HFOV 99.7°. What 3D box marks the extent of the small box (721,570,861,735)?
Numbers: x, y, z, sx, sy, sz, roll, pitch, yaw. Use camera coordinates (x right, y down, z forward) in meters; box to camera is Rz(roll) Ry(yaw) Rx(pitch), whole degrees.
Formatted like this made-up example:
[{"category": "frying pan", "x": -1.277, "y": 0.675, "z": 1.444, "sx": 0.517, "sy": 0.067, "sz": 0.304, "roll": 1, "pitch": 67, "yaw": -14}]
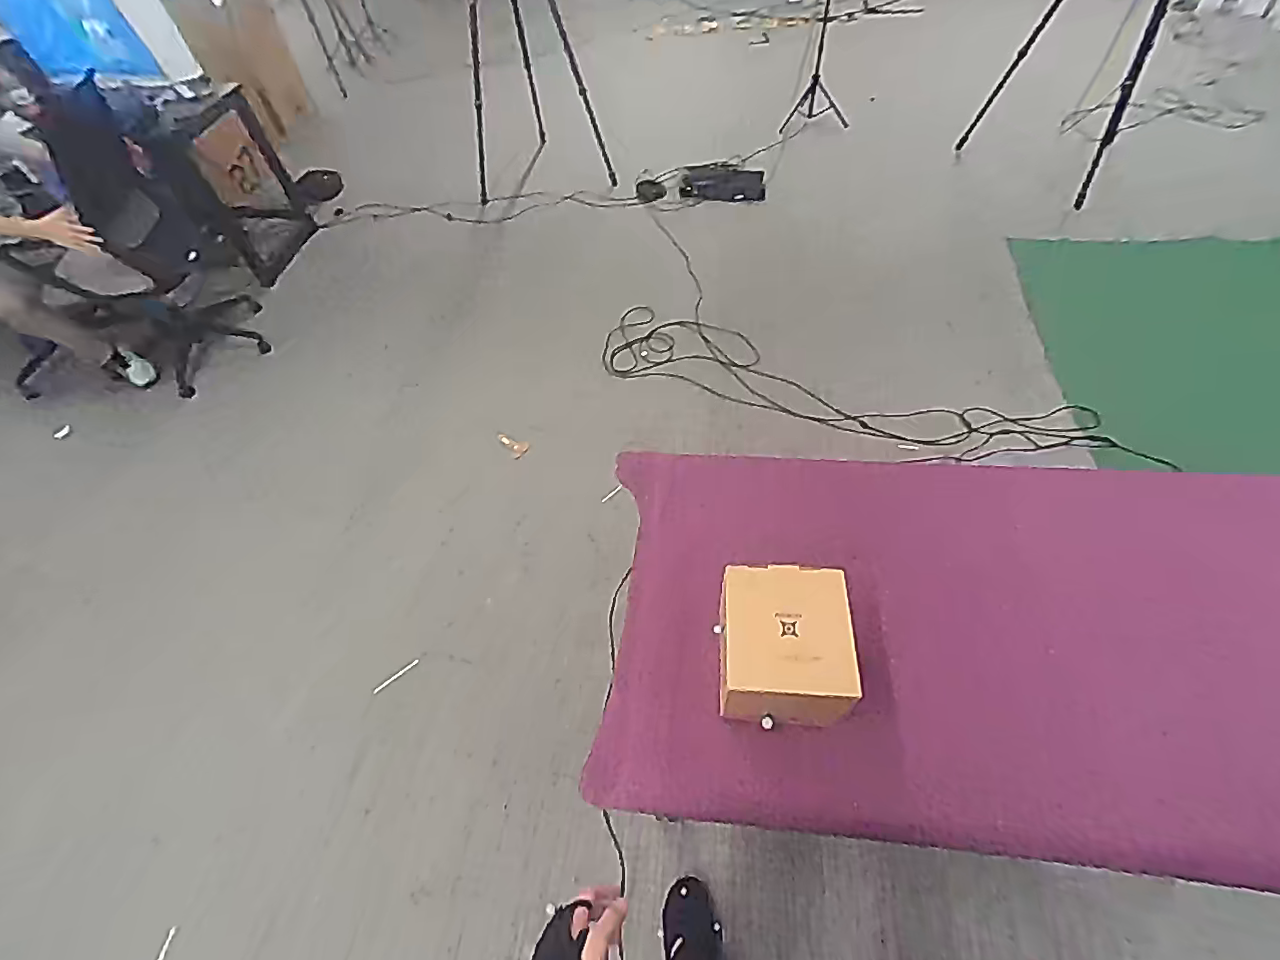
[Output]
[{"category": "small box", "x": 0.202, "y": 0.249, "z": 0.775, "sx": 0.168, "sy": 0.176, "sz": 0.179, "roll": 1, "pitch": 54, "yaw": 7}]
